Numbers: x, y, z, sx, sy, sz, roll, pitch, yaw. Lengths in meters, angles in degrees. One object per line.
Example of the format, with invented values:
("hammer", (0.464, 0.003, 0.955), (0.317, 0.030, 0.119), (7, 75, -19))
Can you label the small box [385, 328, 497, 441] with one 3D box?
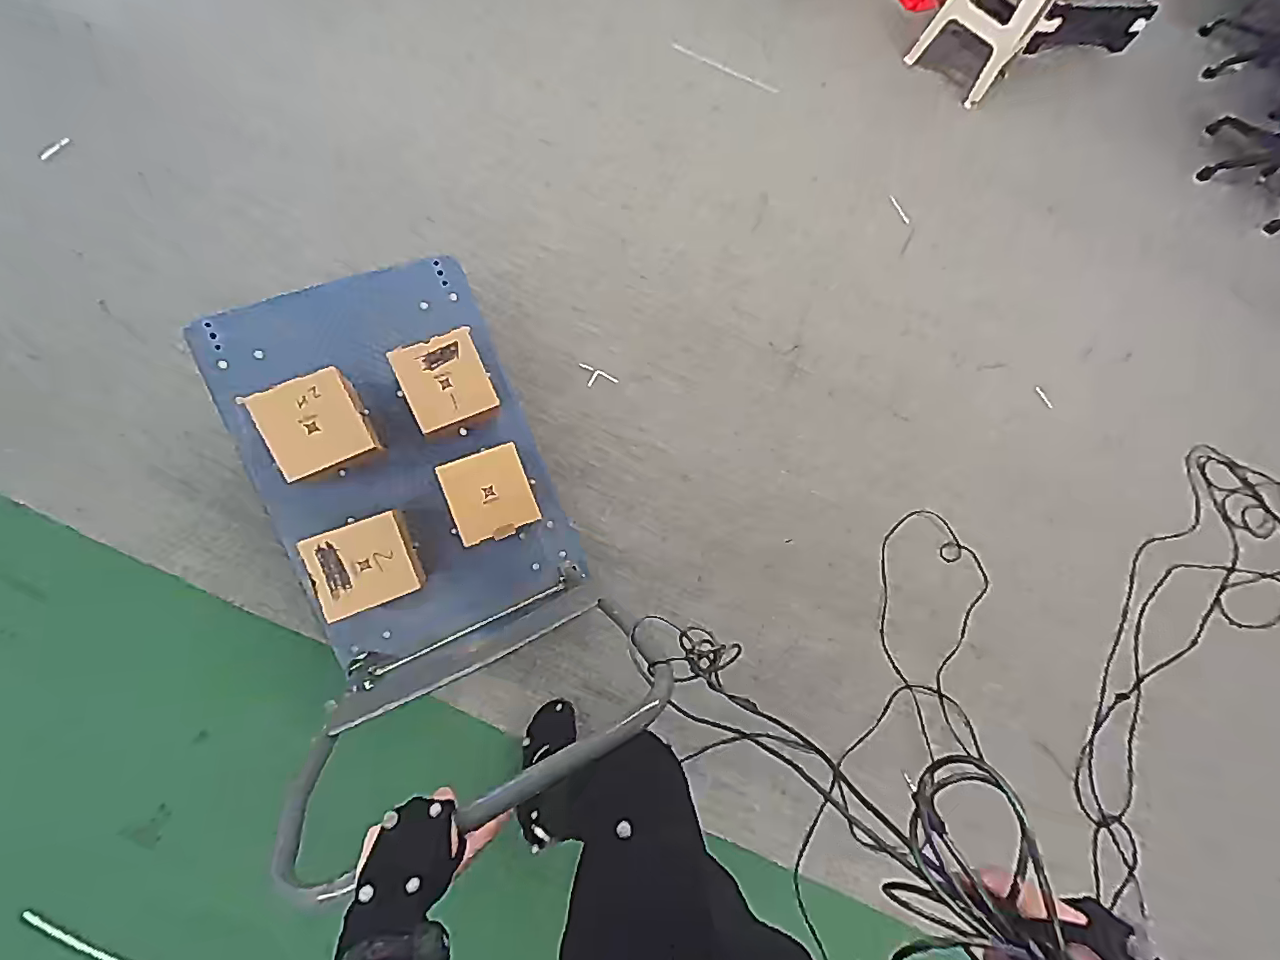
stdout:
("small box", (-0.421, -0.198, 1.164), (0.168, 0.176, 0.179), (-25, 96, -15))

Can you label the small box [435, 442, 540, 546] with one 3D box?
("small box", (-0.335, 0.031, 1.182), (0.168, 0.176, 0.179), (-21, 95, -17))

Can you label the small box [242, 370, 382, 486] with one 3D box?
("small box", (-0.646, -0.098, 1.093), (0.168, 0.176, 0.179), (-27, 95, -17))
